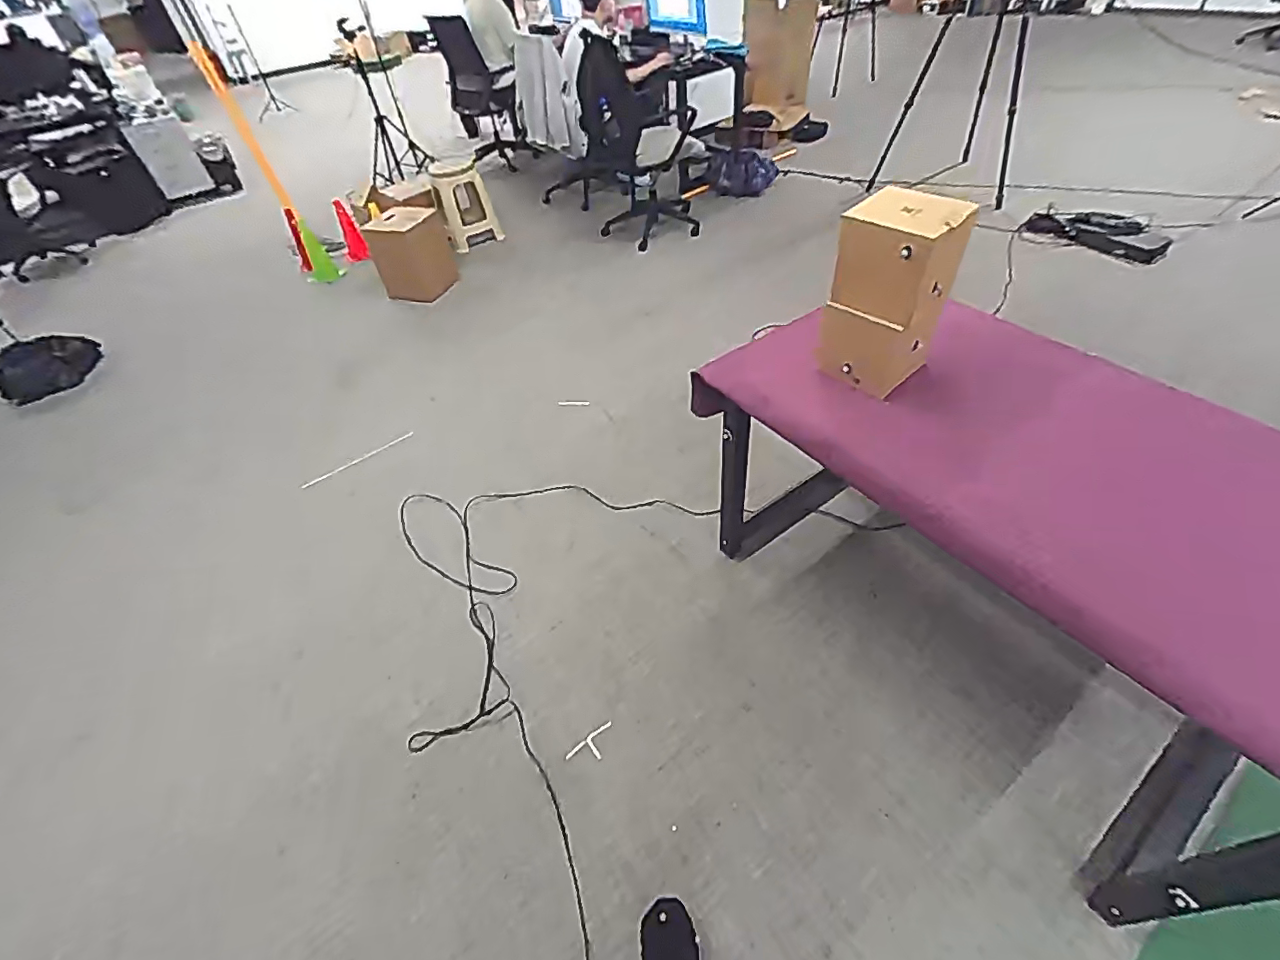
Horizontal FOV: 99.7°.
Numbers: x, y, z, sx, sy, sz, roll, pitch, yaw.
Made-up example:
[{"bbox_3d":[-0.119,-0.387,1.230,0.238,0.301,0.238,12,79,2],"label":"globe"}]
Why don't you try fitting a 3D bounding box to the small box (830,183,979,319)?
[{"bbox_3d":[0.479,-0.424,1.006,0.168,0.176,0.179,-38,54,-24],"label":"small box"}]
